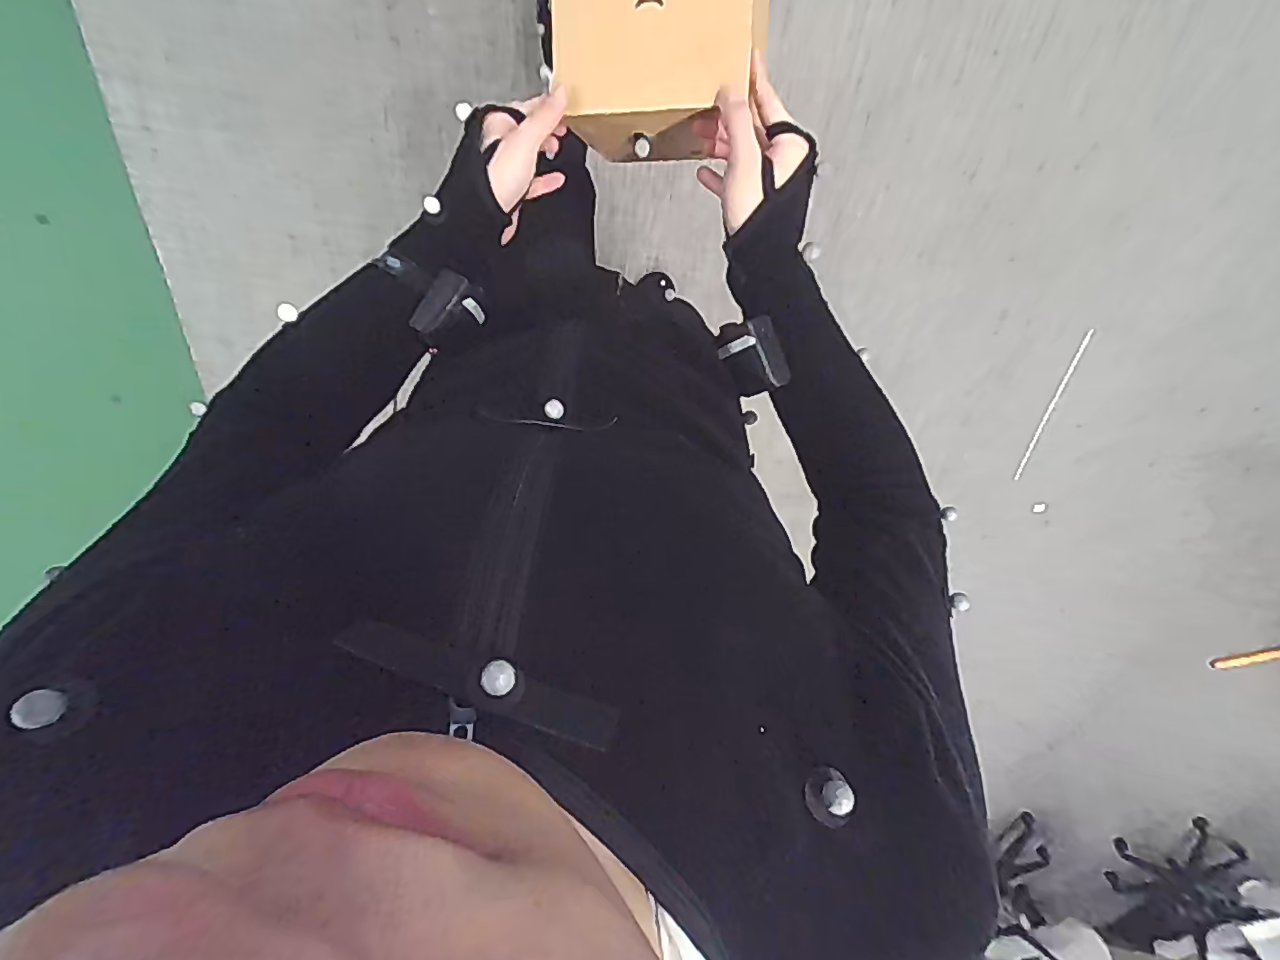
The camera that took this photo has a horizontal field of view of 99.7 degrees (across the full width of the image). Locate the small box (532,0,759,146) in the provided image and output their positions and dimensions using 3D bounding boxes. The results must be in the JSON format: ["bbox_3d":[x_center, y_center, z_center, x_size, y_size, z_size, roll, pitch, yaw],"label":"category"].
[{"bbox_3d":[0.015,-0.408,0.472,0.168,0.176,0.179,7,109,11],"label":"small box"}]
